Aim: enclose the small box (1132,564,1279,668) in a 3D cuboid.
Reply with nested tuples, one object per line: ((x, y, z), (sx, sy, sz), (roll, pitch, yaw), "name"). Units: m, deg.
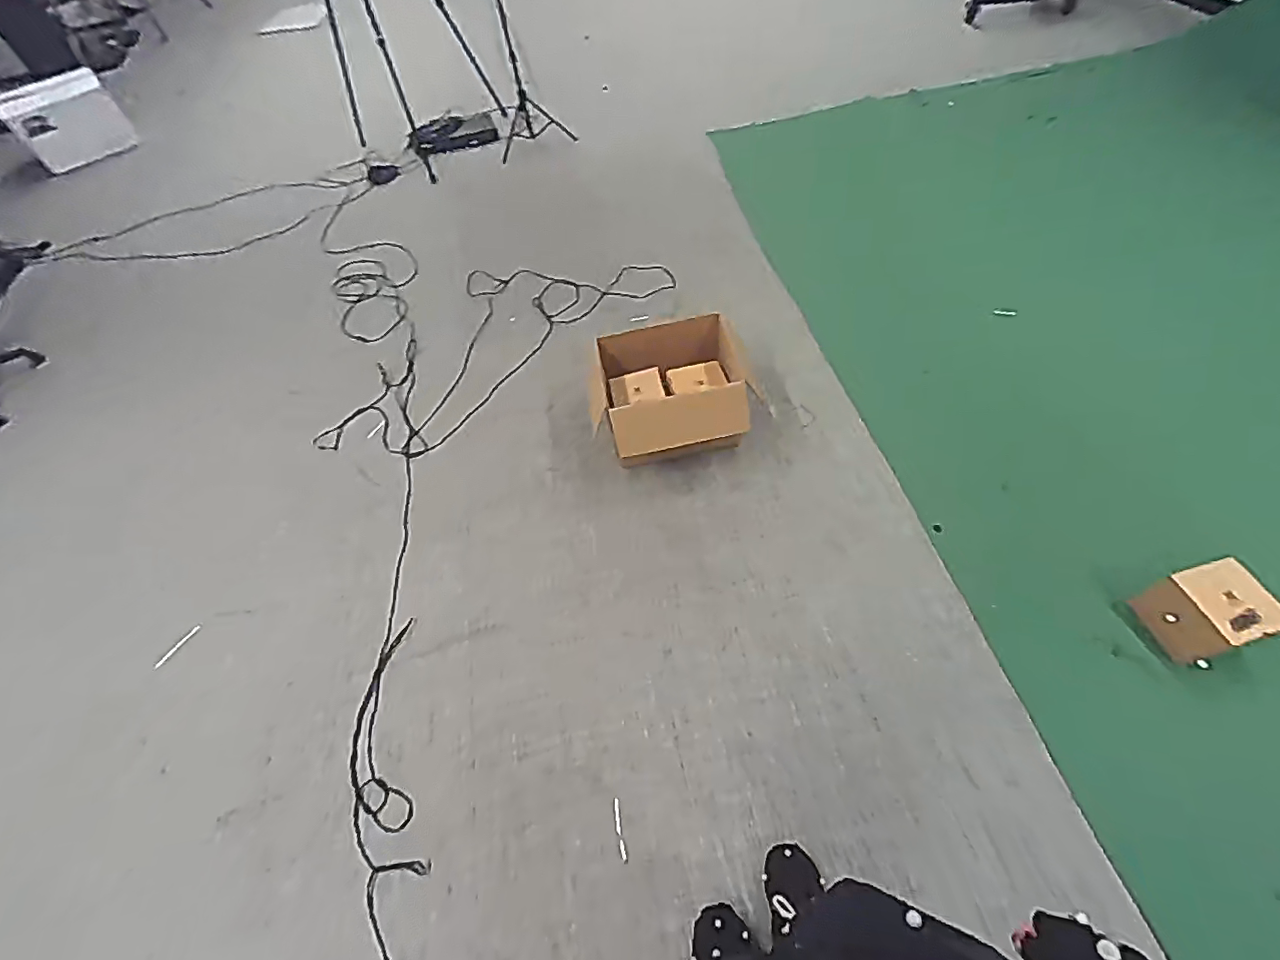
((1.341, 0.328, 1.274), (0.168, 0.176, 0.179), (-15, 54, -3), "small box")
